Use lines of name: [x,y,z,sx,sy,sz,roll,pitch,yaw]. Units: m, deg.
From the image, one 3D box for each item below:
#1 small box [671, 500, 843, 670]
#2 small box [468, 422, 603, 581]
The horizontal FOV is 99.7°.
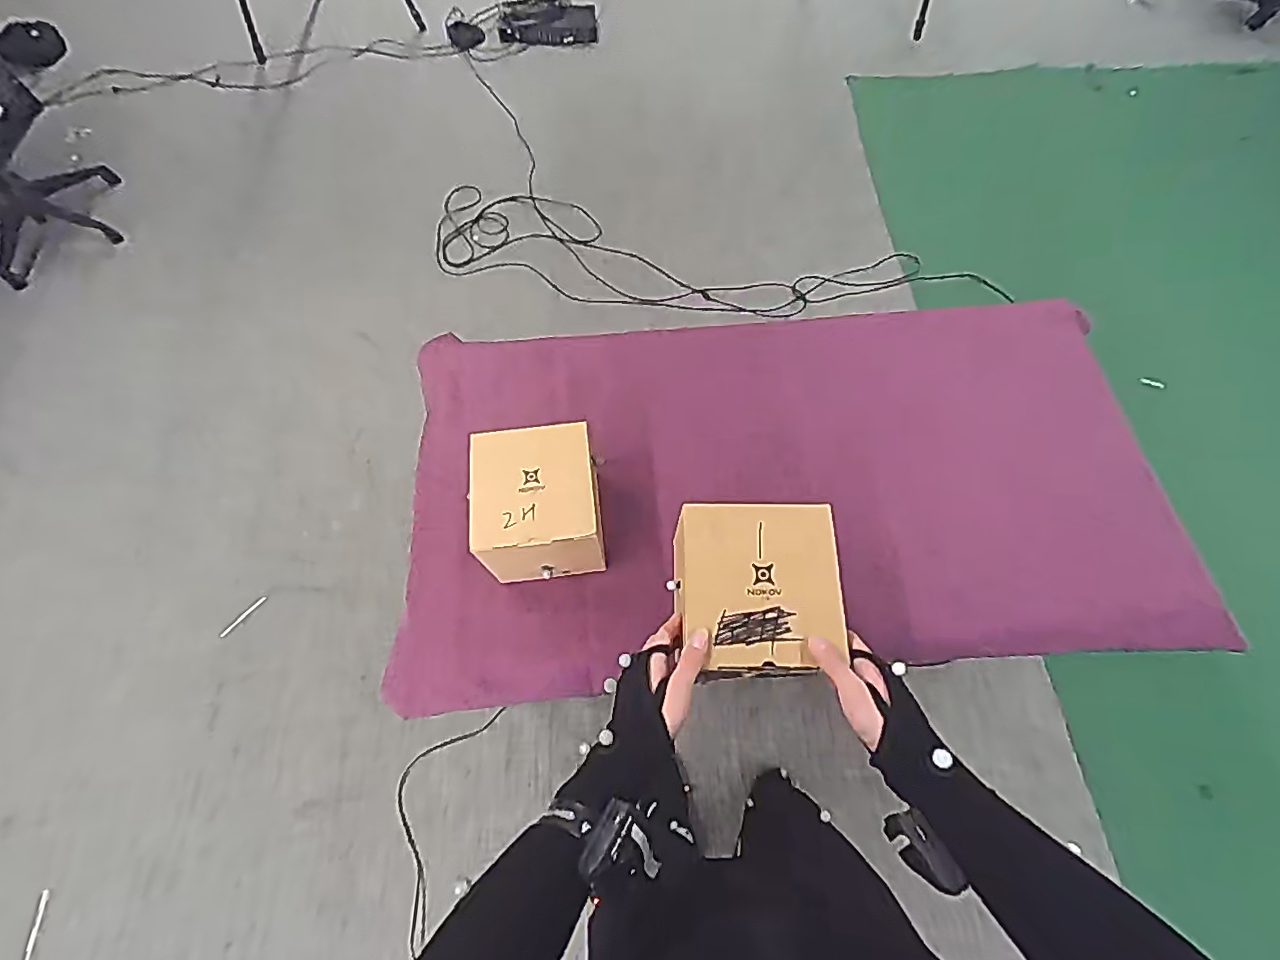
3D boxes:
small box: [0.125,0.132,0.644,0.168,0.176,0.179,1,69,0]
small box: [-0.147,0.037,0.800,0.168,0.176,0.179,-7,66,-2]
